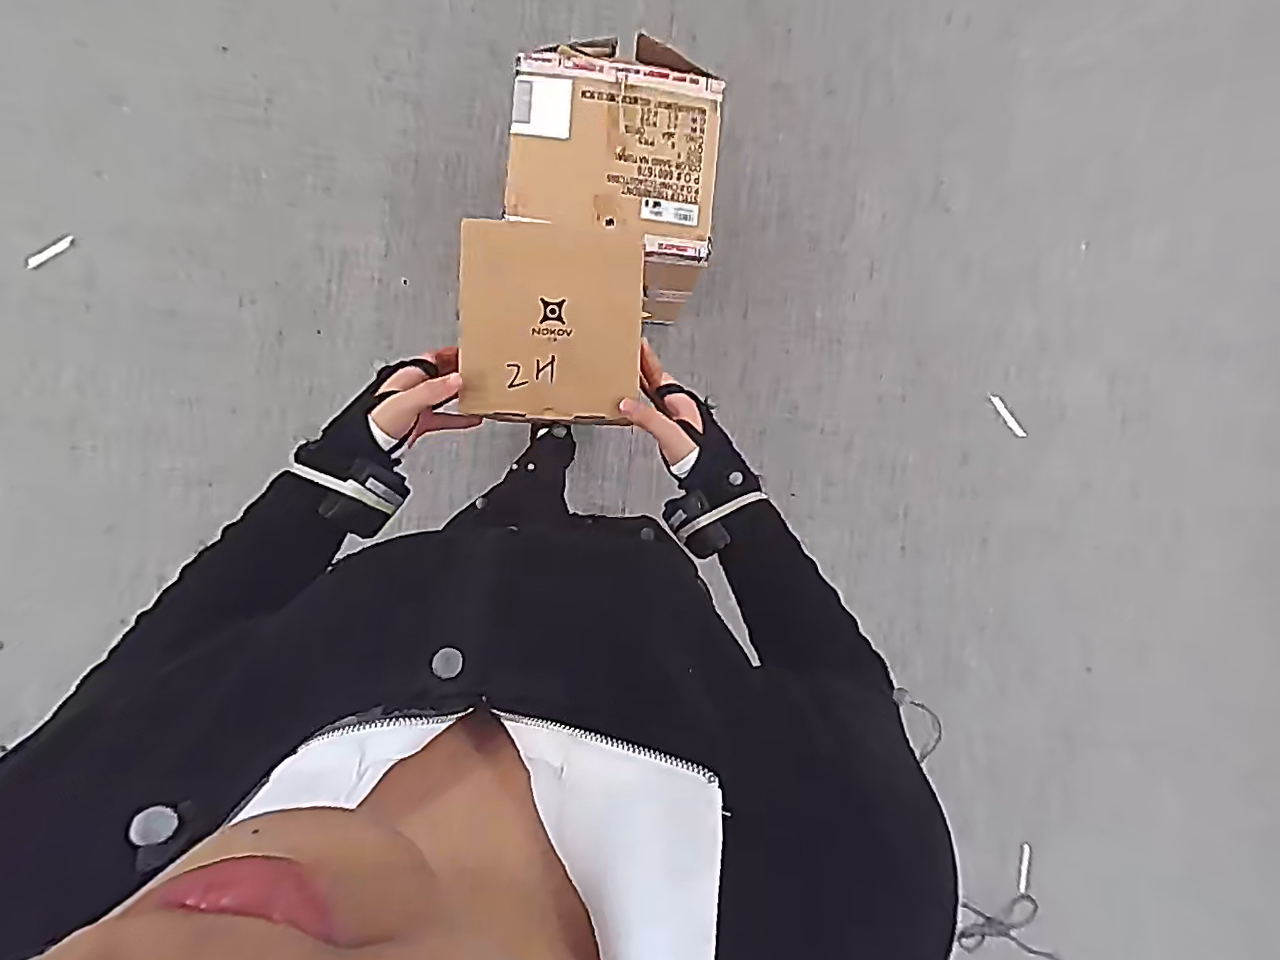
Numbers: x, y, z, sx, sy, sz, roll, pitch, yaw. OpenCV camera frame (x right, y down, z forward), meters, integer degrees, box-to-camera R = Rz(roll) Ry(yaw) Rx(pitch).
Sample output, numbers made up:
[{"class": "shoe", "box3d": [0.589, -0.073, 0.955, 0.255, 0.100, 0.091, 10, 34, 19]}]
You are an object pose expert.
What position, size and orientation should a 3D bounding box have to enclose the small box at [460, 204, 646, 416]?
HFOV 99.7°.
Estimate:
[{"class": "small box", "box3d": [-0.086, -0.164, 0.575, 0.168, 0.176, 0.179, 2, 95, -4]}]
